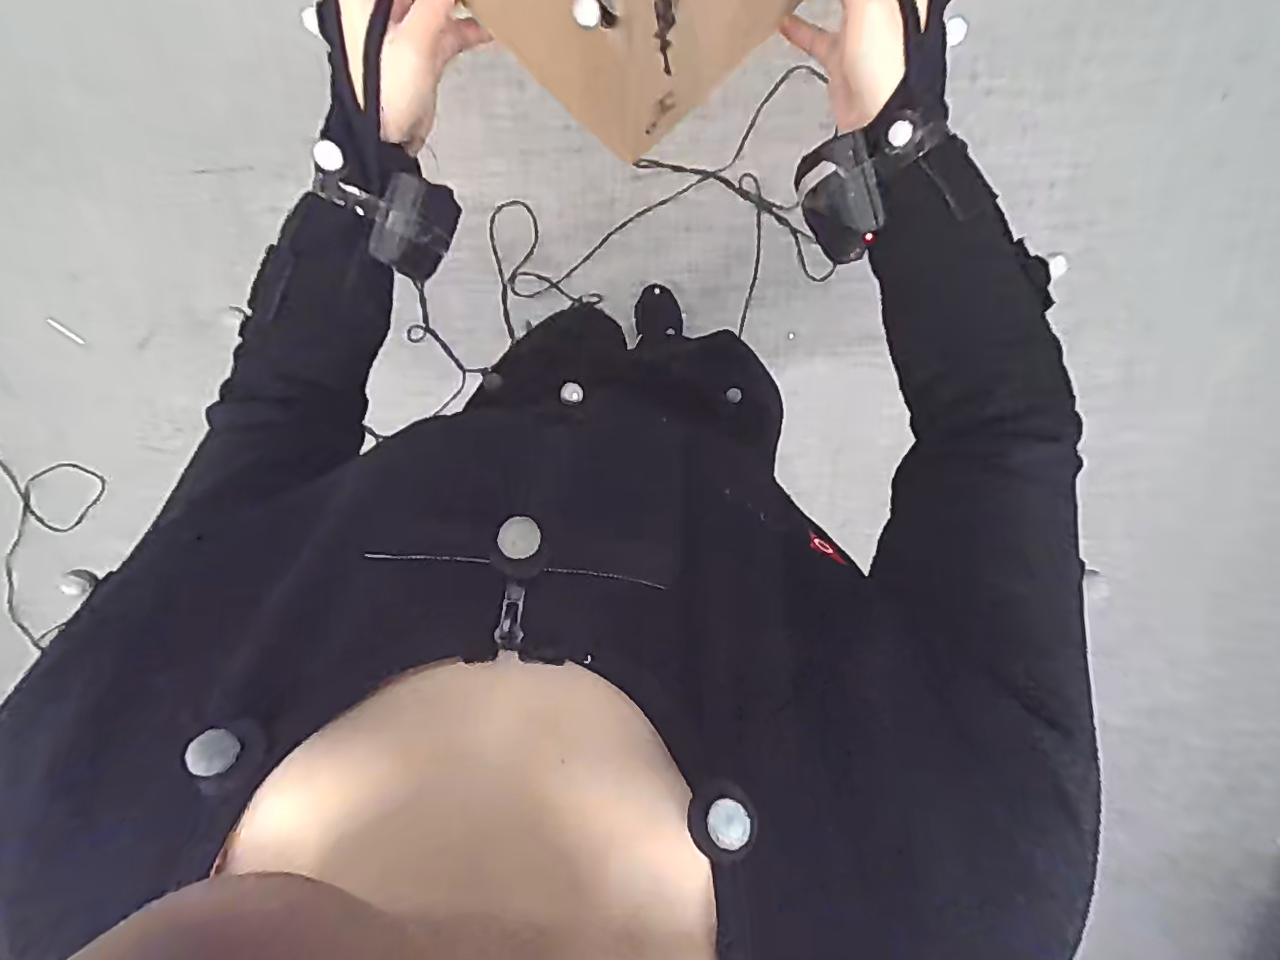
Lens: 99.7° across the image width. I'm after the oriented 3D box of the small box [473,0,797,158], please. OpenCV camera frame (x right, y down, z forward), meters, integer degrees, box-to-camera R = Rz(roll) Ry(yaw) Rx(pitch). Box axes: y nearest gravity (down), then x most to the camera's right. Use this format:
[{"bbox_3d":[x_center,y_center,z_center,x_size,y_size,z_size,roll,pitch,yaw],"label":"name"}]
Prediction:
[{"bbox_3d":[0.000,-0.323,0.267,0.176,0.168,0.179,45,86,-1],"label":"small box"}]
